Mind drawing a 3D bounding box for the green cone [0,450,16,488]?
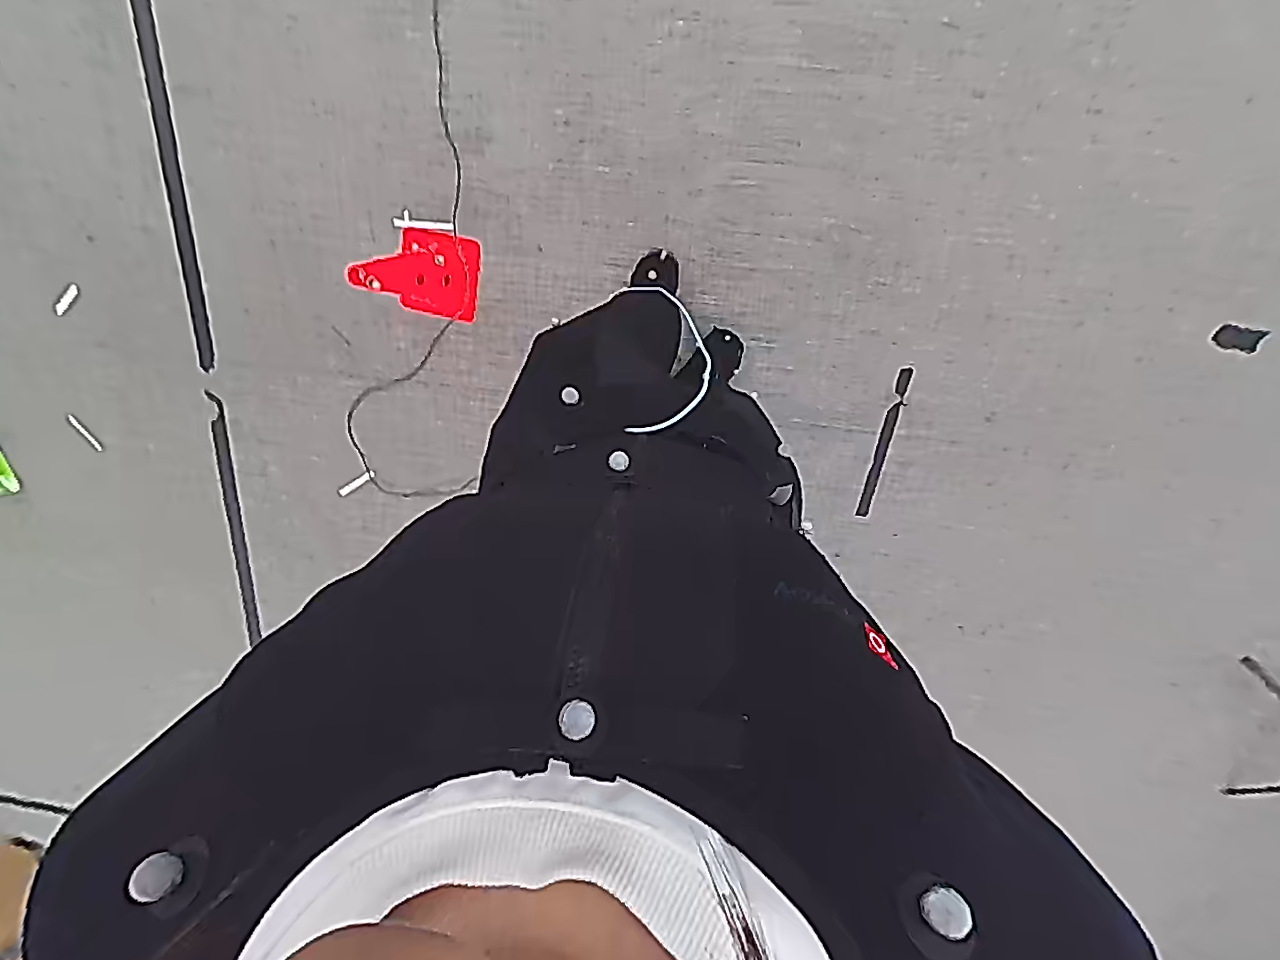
[{"bbox_3d":[-2.104,-0.007,1.543,0.200,0.368,0.202,-7,109,9],"label":"green cone"}]

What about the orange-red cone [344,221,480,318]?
[{"bbox_3d":[-0.517,-0.453,1.177,0.198,0.360,0.199,15,113,2],"label":"orange-red cone"}]
